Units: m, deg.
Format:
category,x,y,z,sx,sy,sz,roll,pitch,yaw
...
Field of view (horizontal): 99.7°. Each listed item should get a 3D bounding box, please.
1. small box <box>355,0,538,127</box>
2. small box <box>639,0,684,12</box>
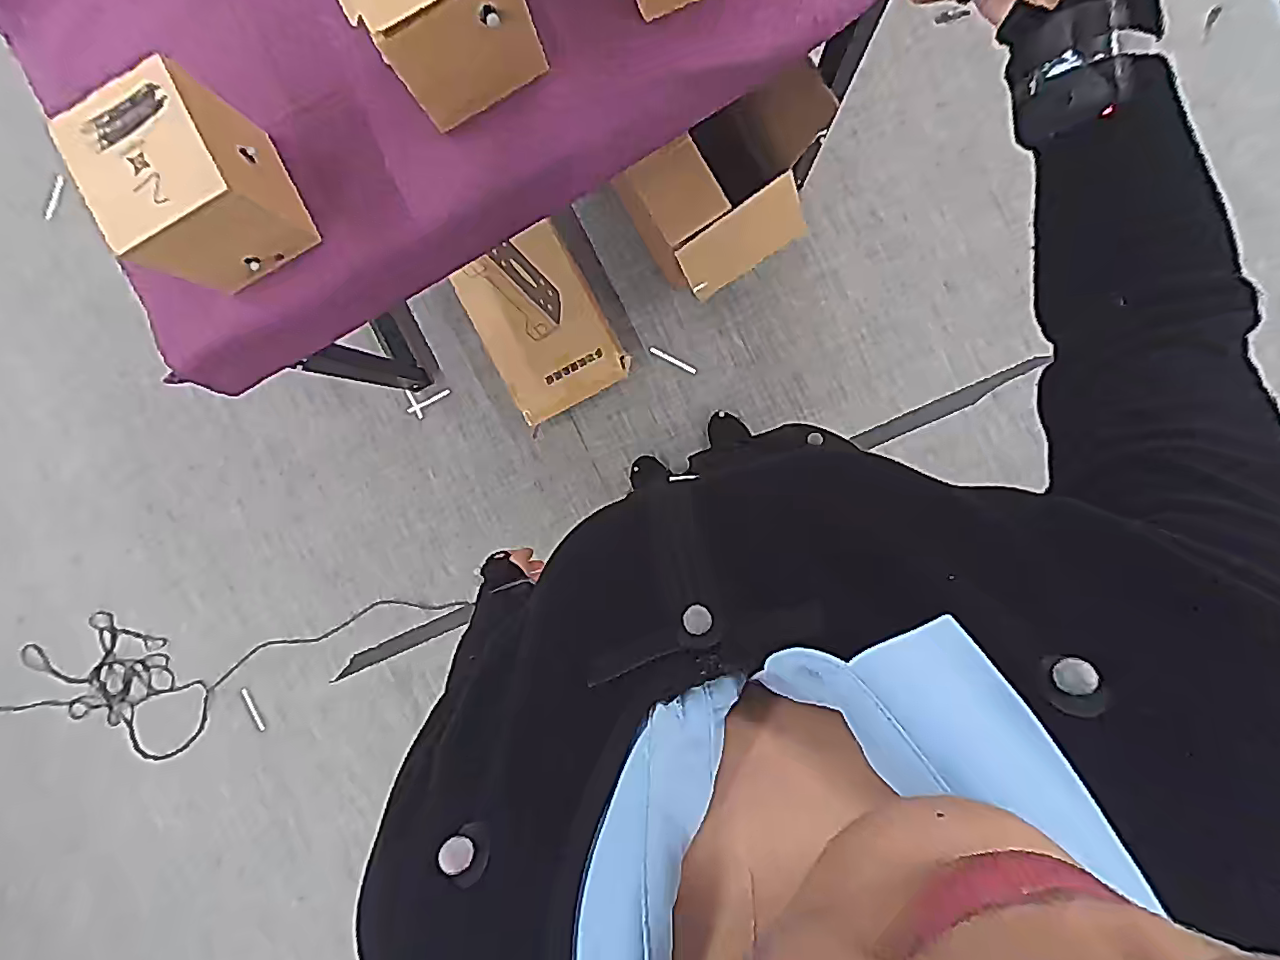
category,x,y,z,sx,sy,sz,roll,pitch,yaw
small box,-0.241,-0.590,0.661,0.179,0.176,0.168,-27,89,6
small box,0.051,-0.714,0.632,0.179,0.176,0.168,-20,92,5
